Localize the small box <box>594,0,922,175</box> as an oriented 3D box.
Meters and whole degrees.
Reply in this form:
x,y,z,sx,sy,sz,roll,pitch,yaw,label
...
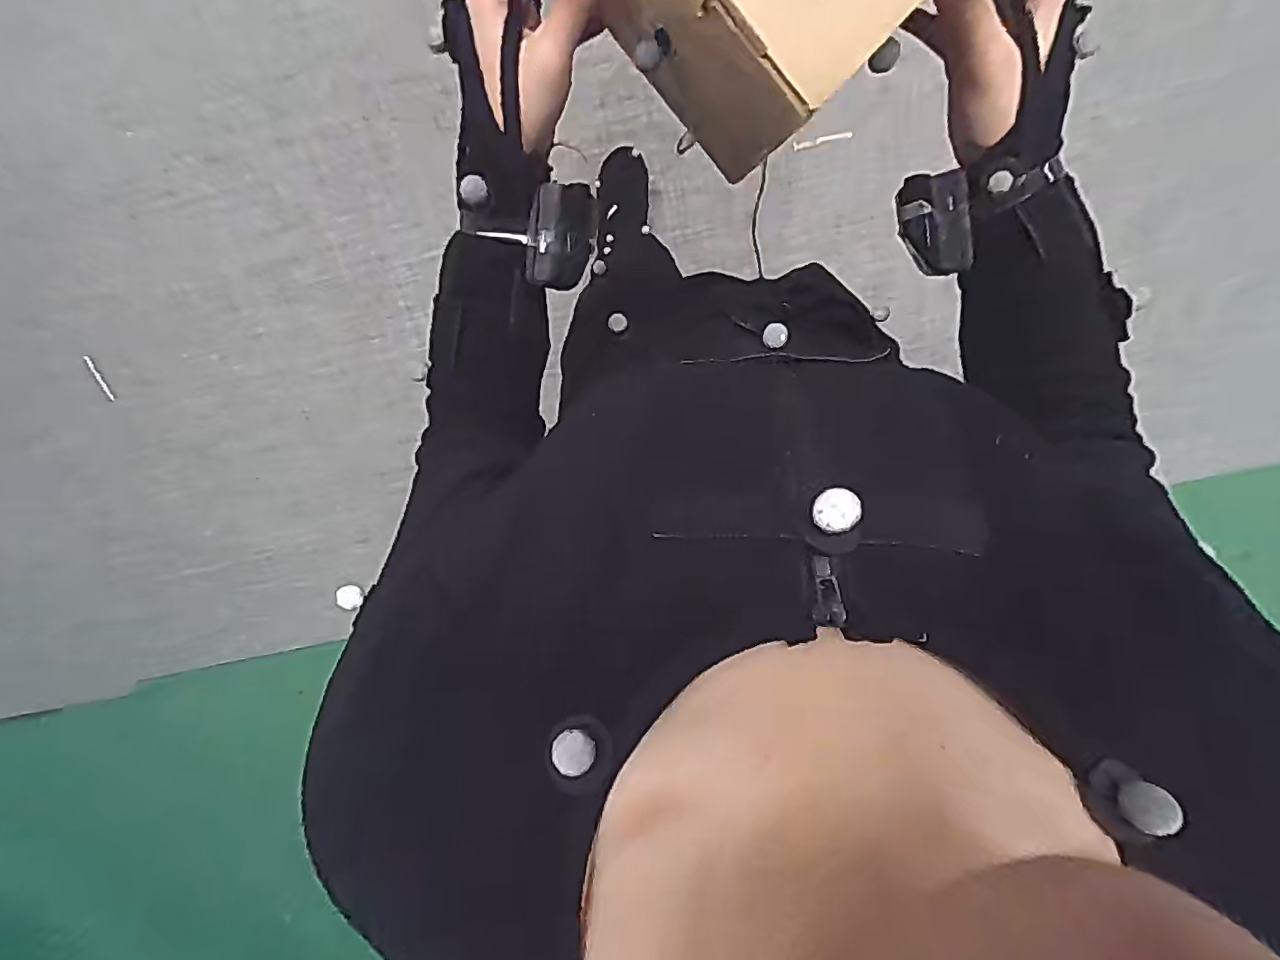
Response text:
x,y,z,sx,sy,sz,roll,pitch,yaw,label
0.072,-0.292,0.273,0.179,0.176,0.168,-42,105,14,small box
